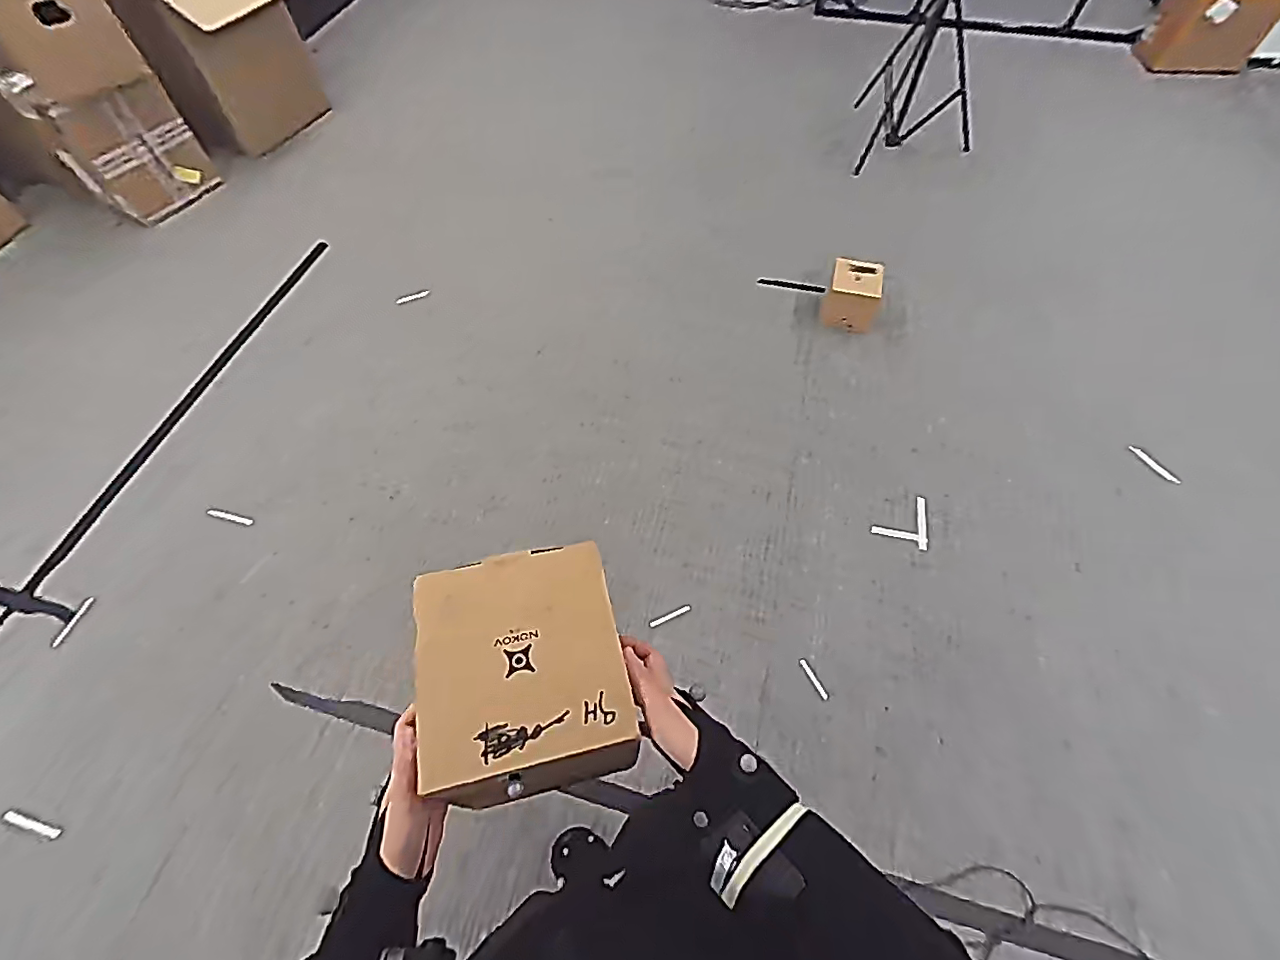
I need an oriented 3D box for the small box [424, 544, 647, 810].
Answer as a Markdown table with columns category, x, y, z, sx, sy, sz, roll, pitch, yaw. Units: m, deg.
| category | x | y | z | sx | sy | sz | roll | pitch | yaw |
| --- | --- | --- | --- | --- | --- | --- | --- | --- | --- |
| small box | -0.095 | 0.187 | 0.506 | 0.168 | 0.176 | 0.179 | -10 | 56 | -9 |
